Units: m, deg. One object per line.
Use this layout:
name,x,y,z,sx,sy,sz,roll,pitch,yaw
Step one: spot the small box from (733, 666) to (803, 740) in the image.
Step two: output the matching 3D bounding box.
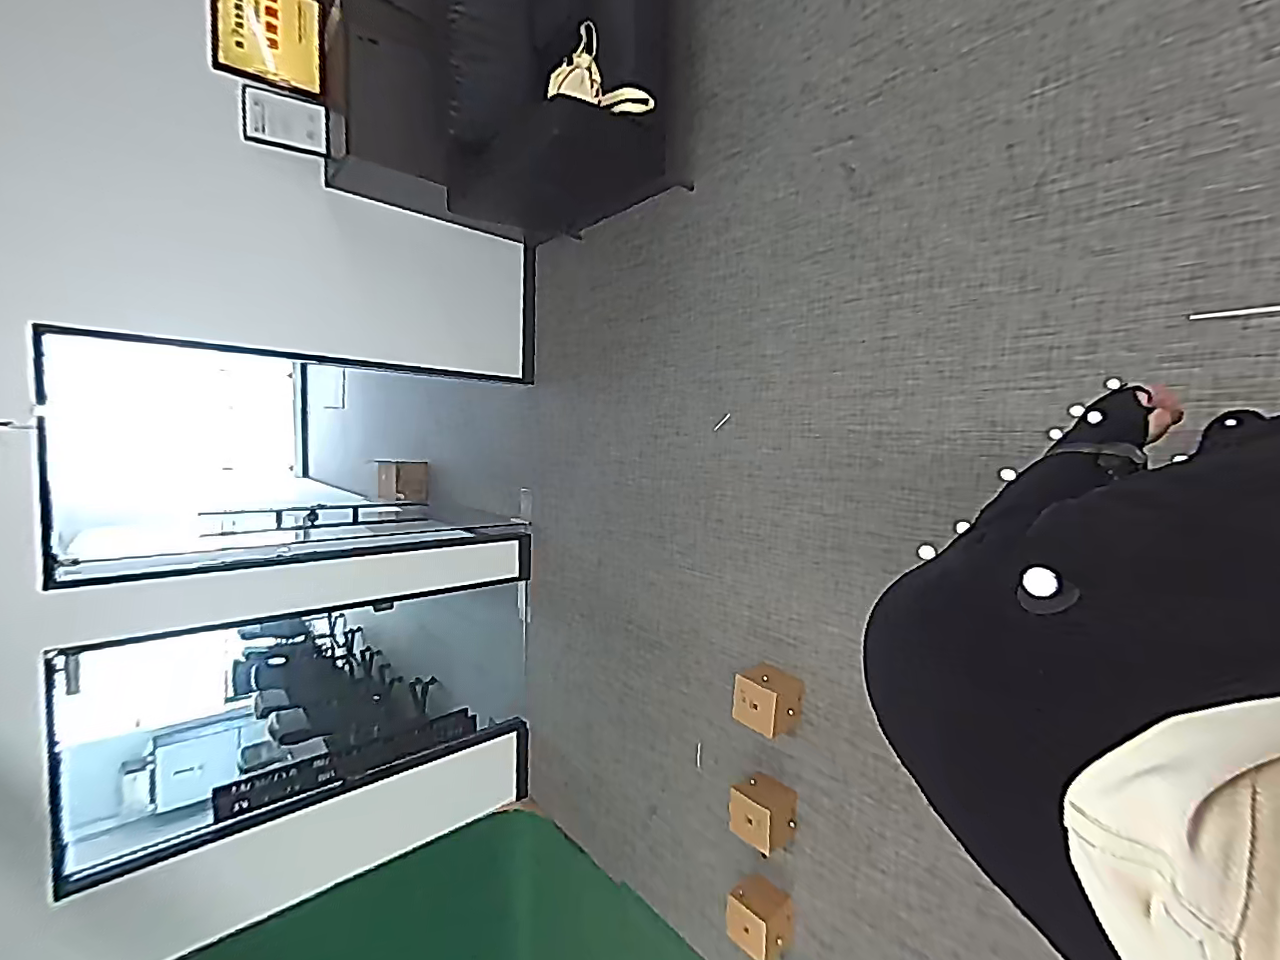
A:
small box,0.456,0.780,1.915,0.179,0.176,0.168,11,99,48

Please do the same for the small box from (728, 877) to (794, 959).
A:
small box,0.441,1.598,1.961,0.179,0.176,0.168,4,95,50

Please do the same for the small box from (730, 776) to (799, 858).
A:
small box,0.447,1.198,1.942,0.179,0.176,0.168,5,95,48
